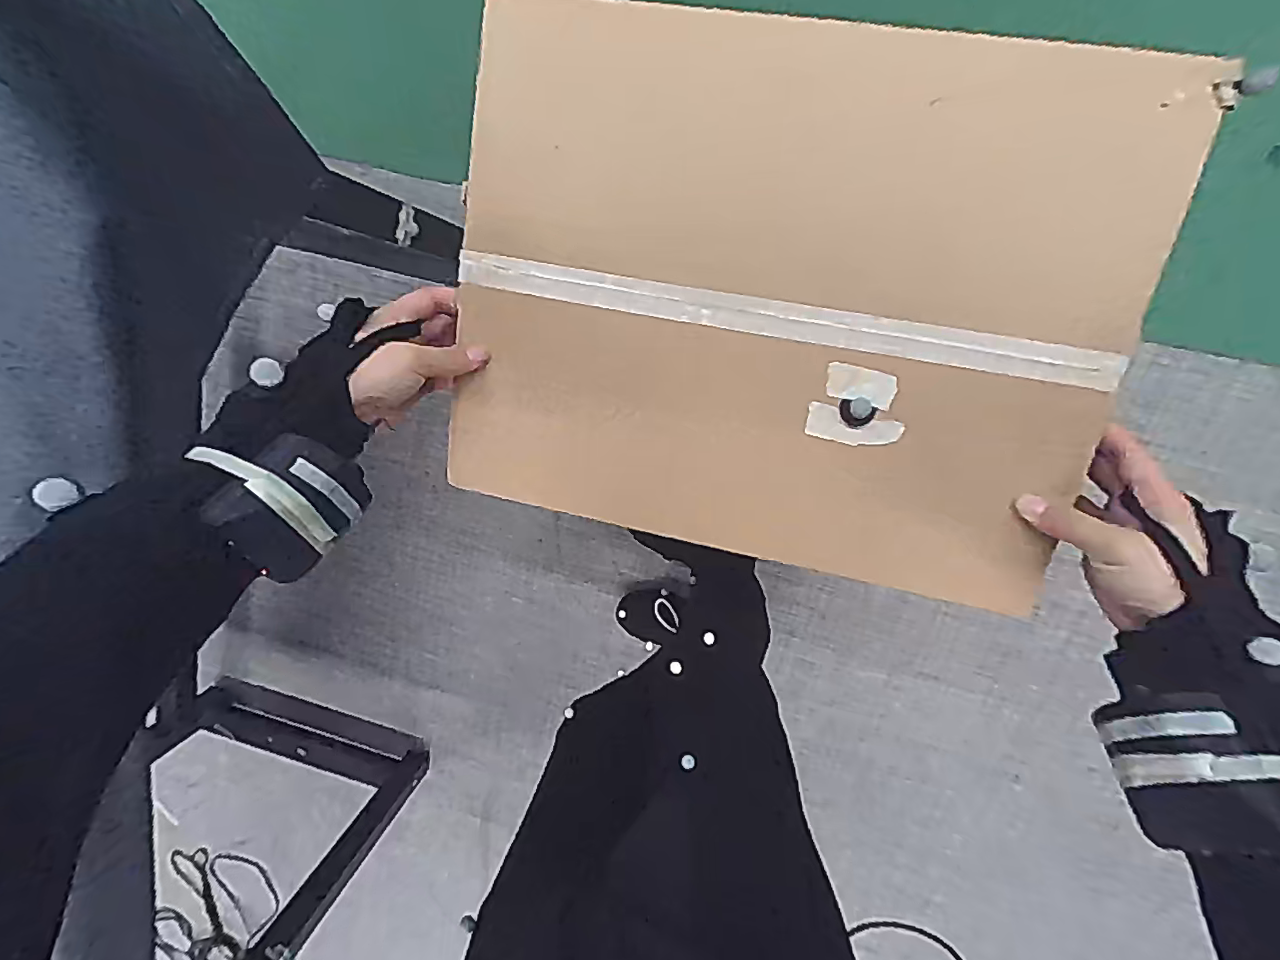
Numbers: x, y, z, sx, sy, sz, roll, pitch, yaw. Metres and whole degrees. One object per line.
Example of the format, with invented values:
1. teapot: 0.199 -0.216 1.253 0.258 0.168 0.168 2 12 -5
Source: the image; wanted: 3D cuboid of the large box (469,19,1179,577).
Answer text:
1. large box: 0.105 -0.144 0.499 0.408 0.320 0.320 11 105 7
